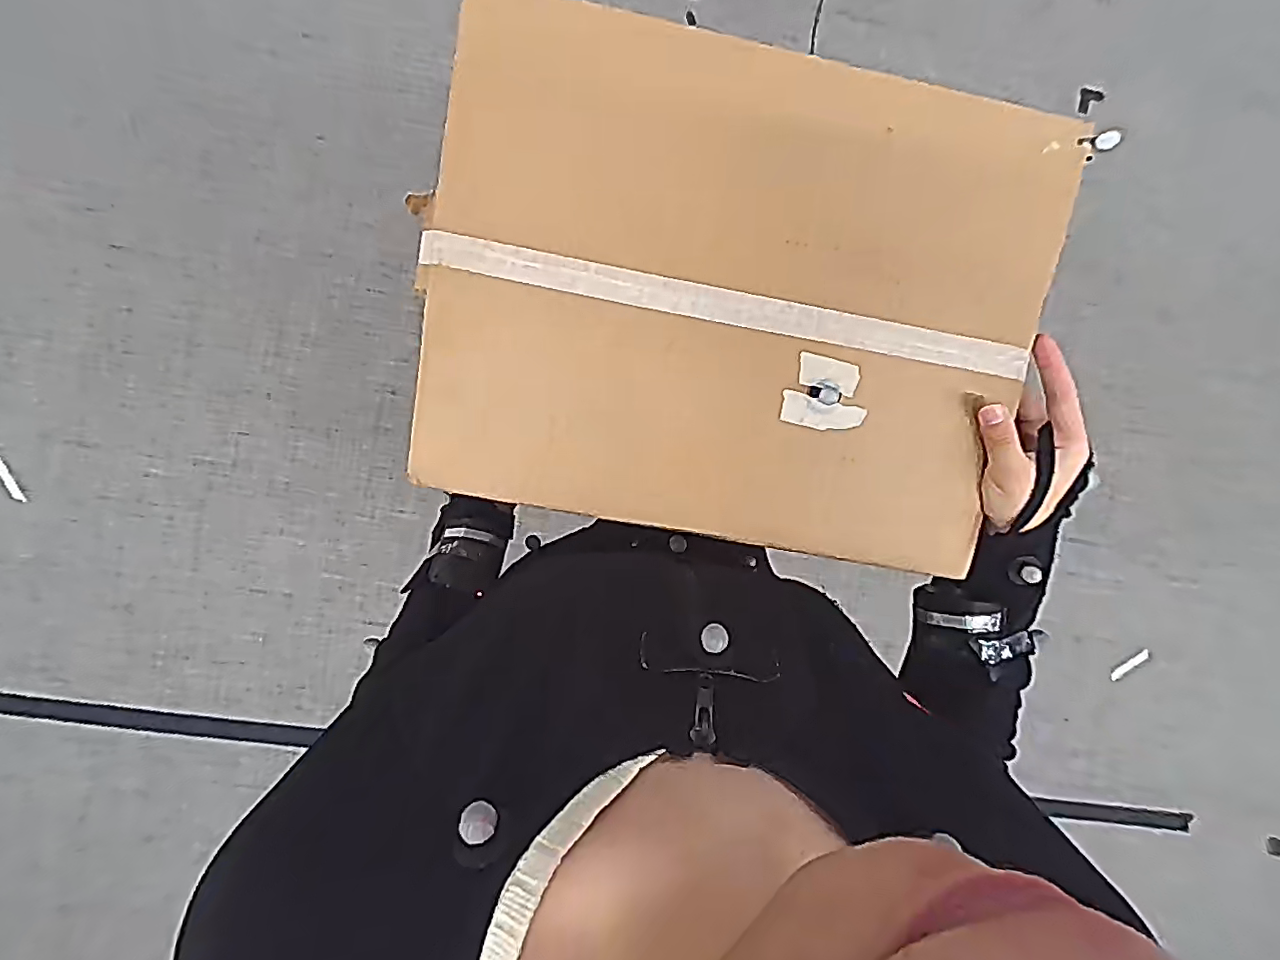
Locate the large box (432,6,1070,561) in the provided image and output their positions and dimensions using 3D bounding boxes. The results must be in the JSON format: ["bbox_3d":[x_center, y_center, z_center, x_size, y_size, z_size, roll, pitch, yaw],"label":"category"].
[{"bbox_3d":[0.062,-0.138,0.515,0.408,0.320,0.320,9,99,-5],"label":"large box"}]
